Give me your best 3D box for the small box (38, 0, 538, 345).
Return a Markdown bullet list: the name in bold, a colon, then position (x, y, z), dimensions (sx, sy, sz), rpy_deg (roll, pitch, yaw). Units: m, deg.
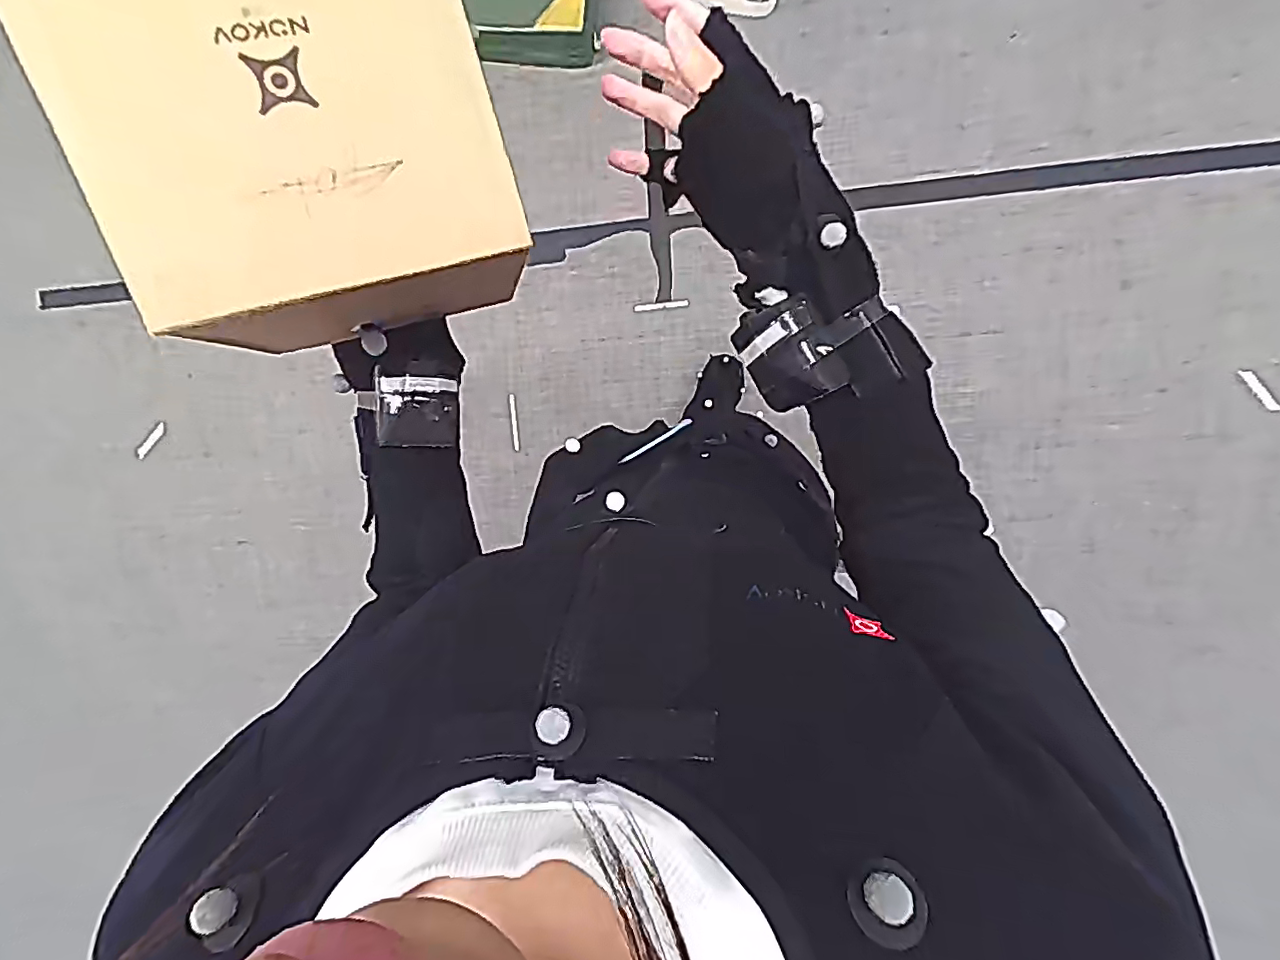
- **small box**: position (-0.170, -0.187, 0.309), dimensions (0.168, 0.176, 0.179), rpy_deg (-19, 104, -13)
